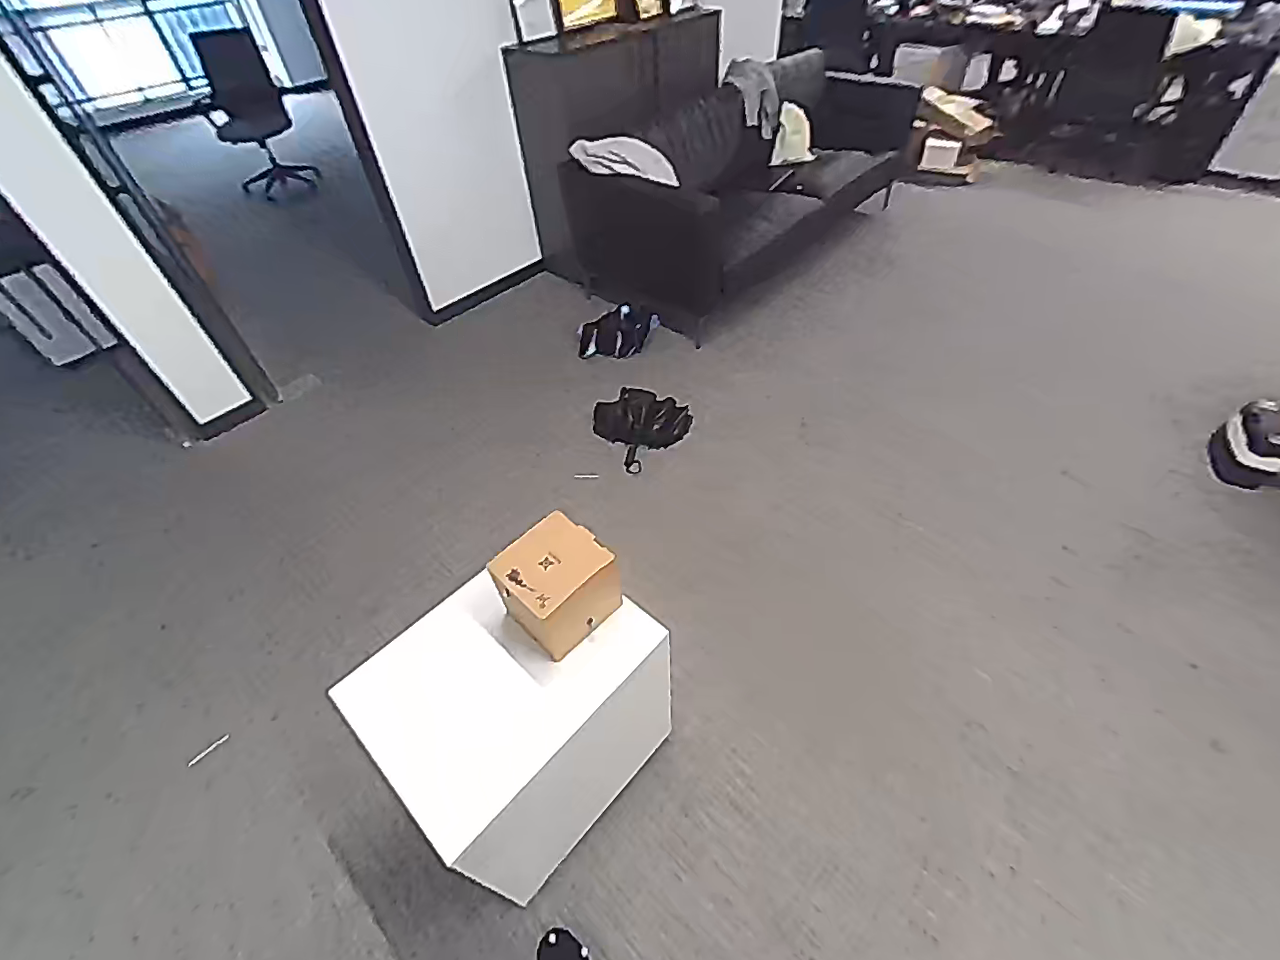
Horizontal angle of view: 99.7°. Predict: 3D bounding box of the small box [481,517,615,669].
[{"bbox_3d":[-0.164,0.209,1.004,0.168,0.176,0.179,33,54,29],"label":"small box"}]
